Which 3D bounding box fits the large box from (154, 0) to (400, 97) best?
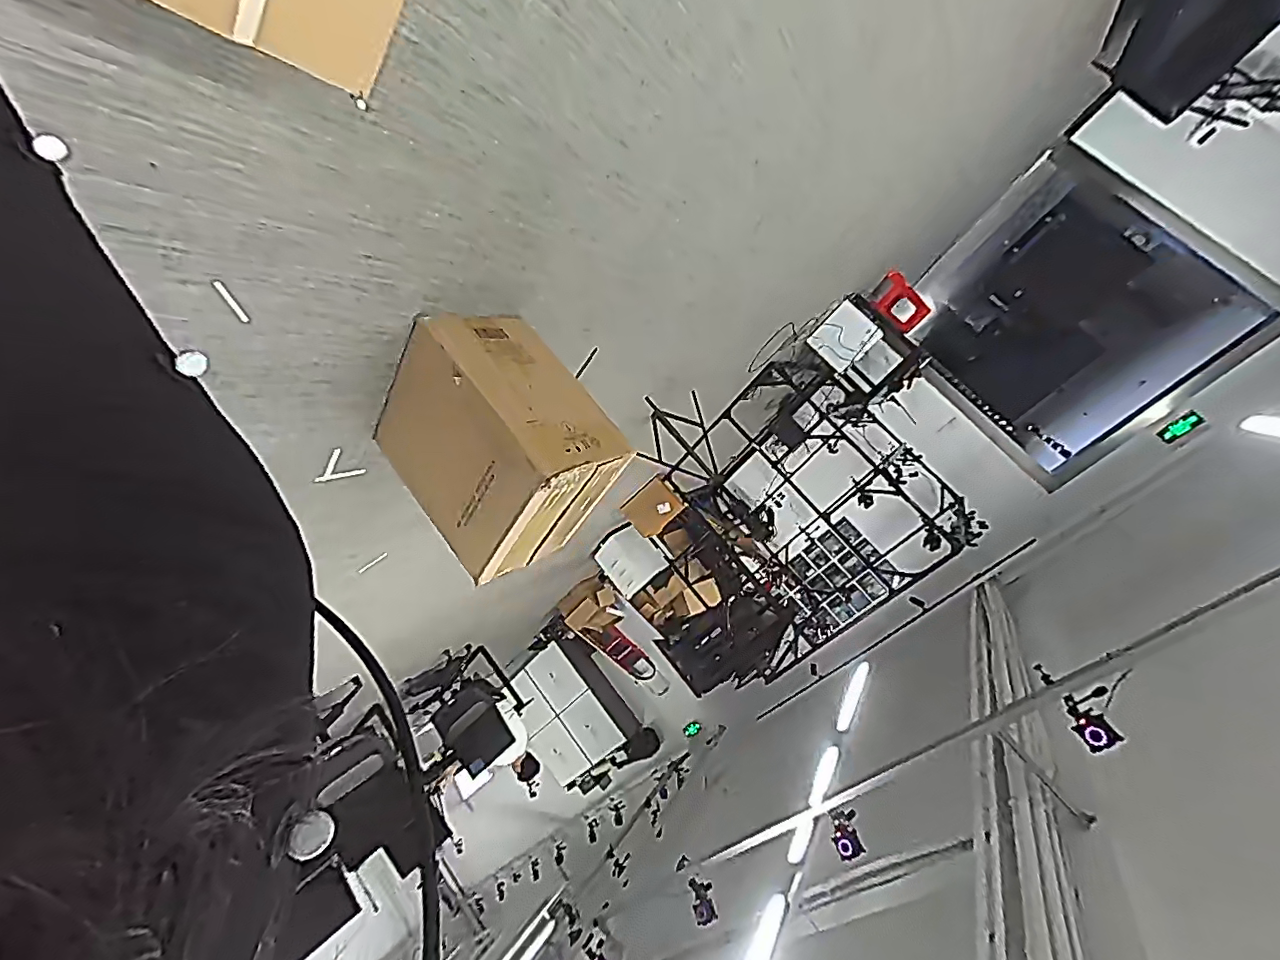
[{"bbox_3d":[-0.427,-0.735,0.546,0.408,0.320,0.320,-46,165,27],"label":"large box"}]
